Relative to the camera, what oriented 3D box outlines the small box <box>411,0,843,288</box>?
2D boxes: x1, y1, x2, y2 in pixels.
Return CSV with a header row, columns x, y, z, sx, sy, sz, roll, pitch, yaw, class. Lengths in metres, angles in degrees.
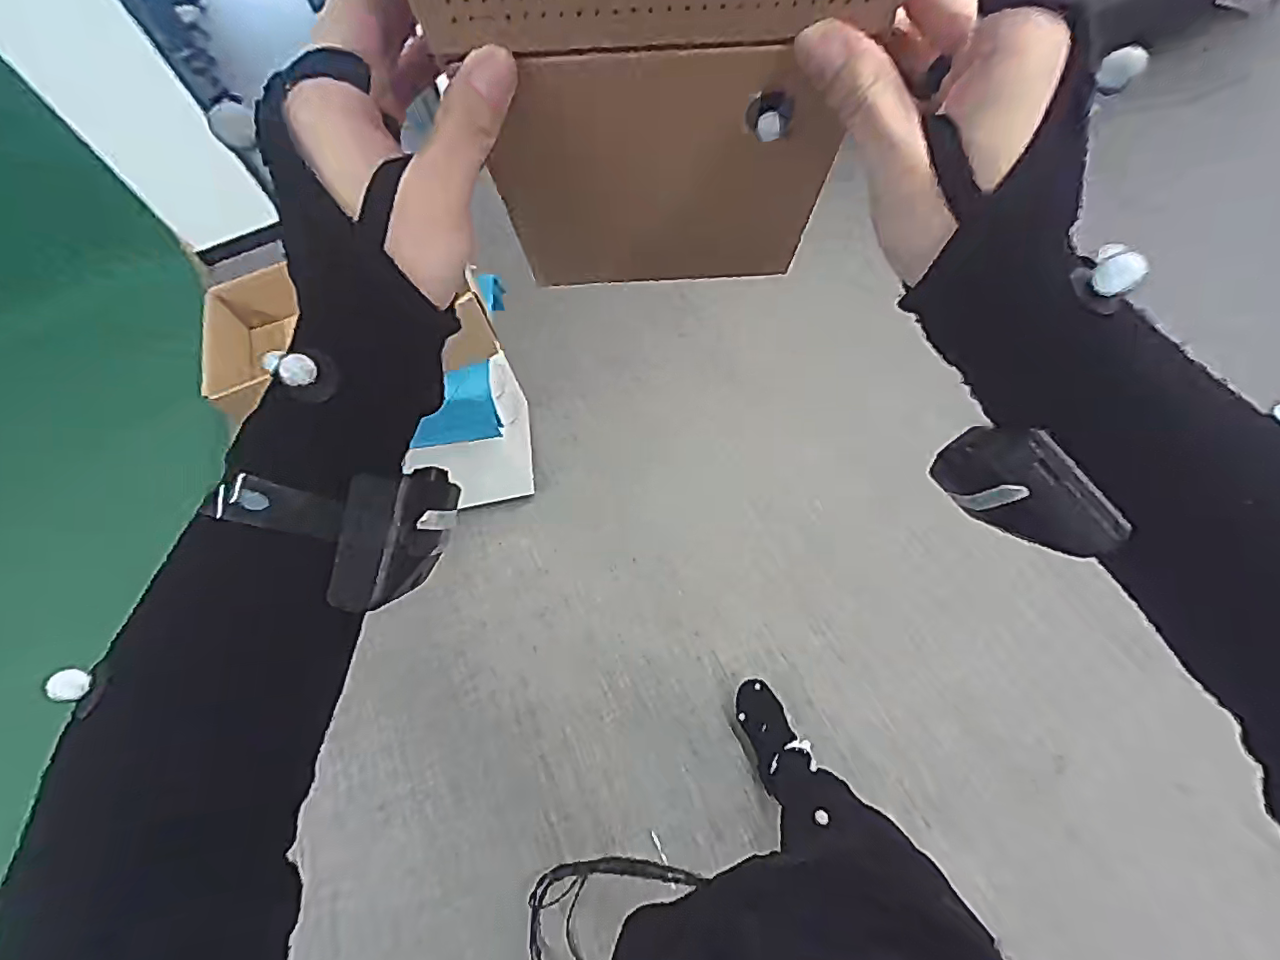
x,y,z,sx,sy,sz,roll,pitch,yaw,class
-0.006,-0.227,0.309,0.179,0.176,0.168,-4,79,1,small box
